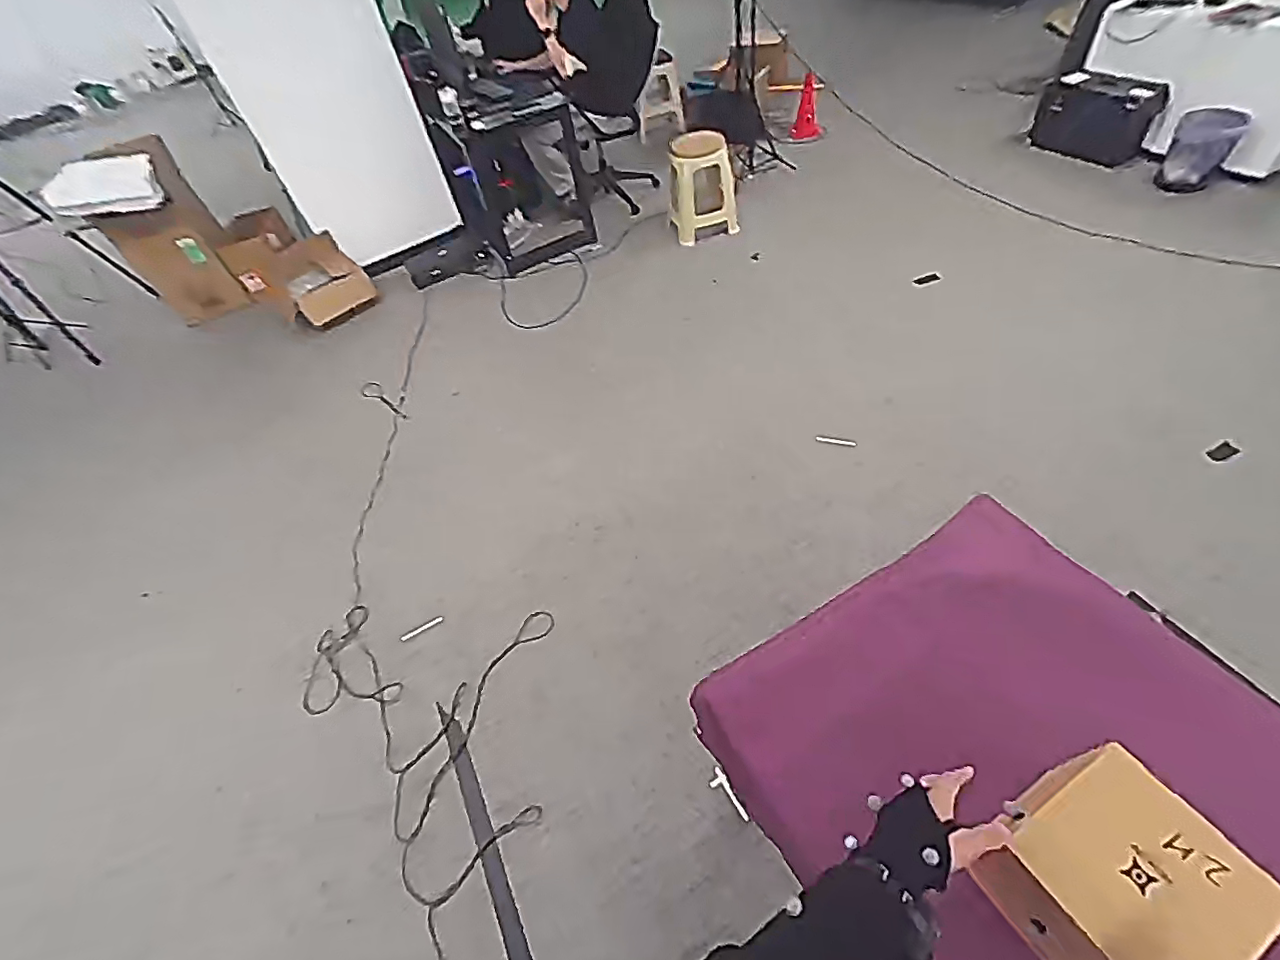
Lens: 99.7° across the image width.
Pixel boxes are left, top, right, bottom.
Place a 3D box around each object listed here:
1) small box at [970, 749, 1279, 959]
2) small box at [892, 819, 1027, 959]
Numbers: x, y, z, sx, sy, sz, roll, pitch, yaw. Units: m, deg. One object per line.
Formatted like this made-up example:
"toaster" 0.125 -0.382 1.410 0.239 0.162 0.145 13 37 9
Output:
"small box" 0.486 0.425 0.570 0.179 0.176 0.168 -29 53 -13
"small box" 0.623 0.798 1.044 0.168 0.176 0.179 -30 55 -14
